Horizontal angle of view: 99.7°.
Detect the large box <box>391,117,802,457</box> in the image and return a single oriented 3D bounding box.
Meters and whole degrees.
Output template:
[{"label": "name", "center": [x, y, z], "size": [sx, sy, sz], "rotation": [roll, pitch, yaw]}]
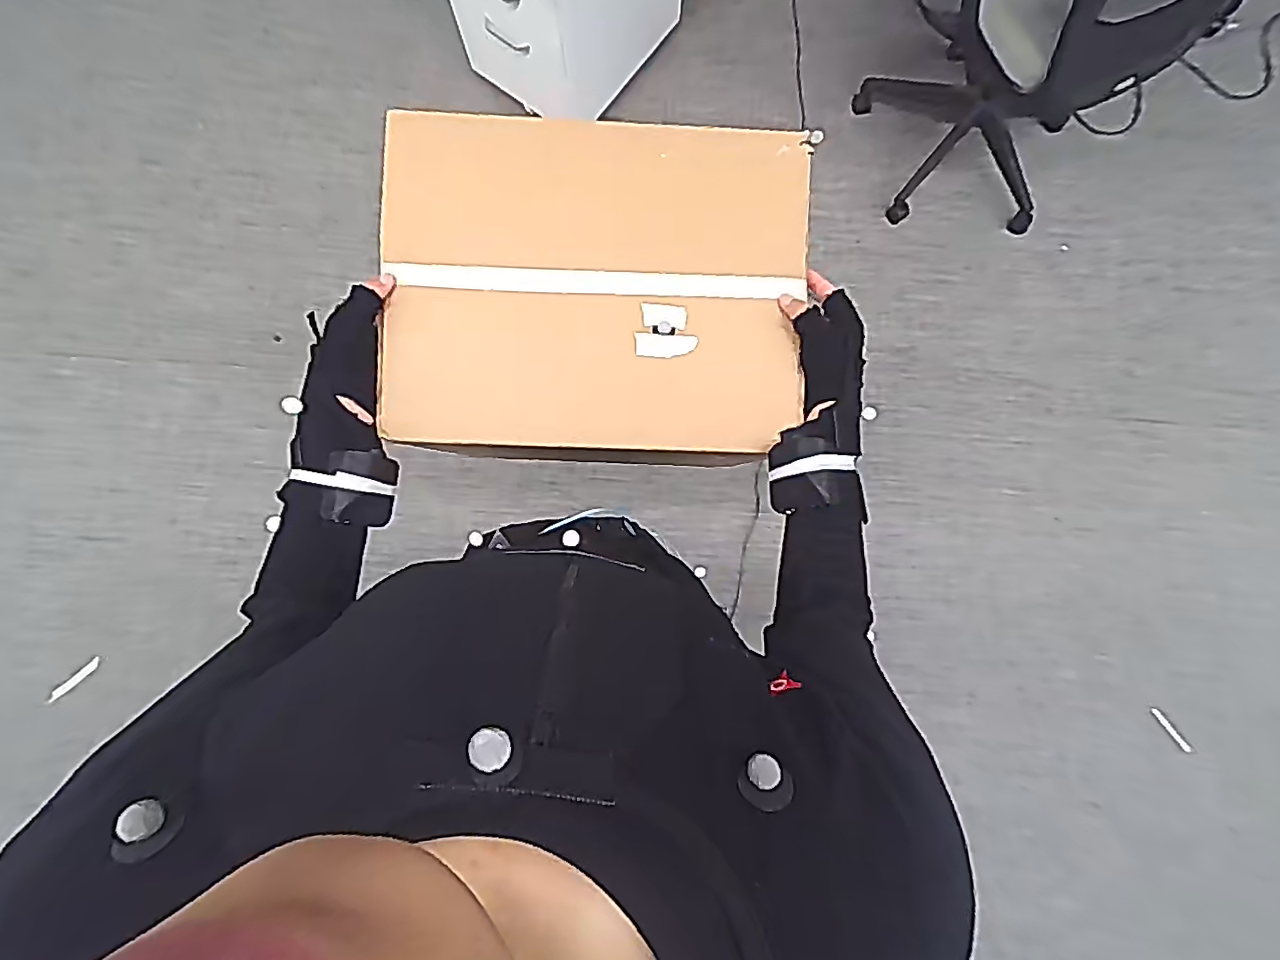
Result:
[{"label": "large box", "center": [-0.048, -0.193, 0.679], "size": [0.408, 0.320, 0.320], "rotation": [2, 91, -3]}]
